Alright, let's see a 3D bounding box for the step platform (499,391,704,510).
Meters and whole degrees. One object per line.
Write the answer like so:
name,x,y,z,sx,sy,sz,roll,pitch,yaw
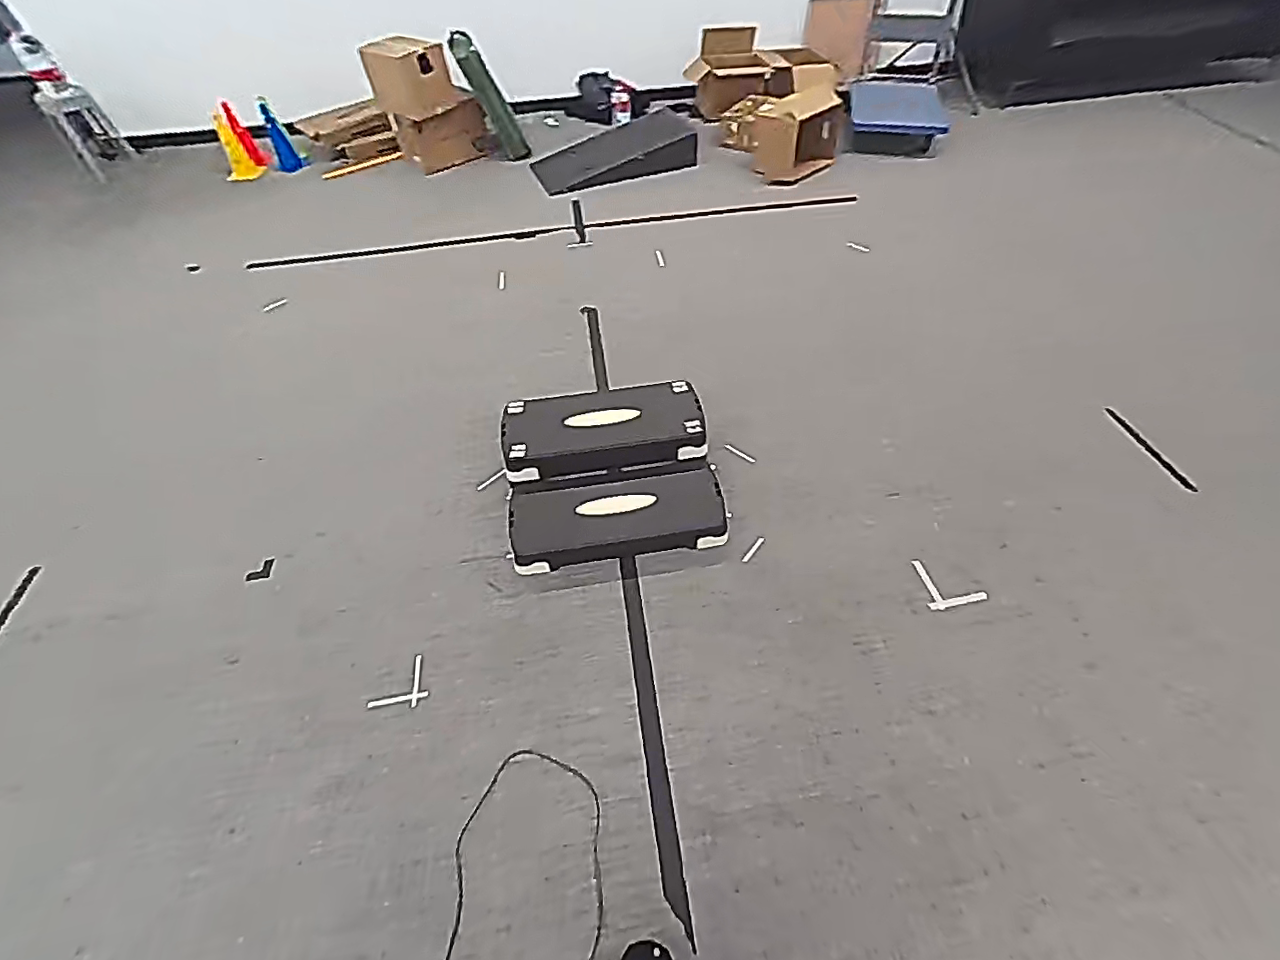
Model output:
step platform,-0.128,-0.109,1.836,0.684,0.204,0.286,-8,51,-5
